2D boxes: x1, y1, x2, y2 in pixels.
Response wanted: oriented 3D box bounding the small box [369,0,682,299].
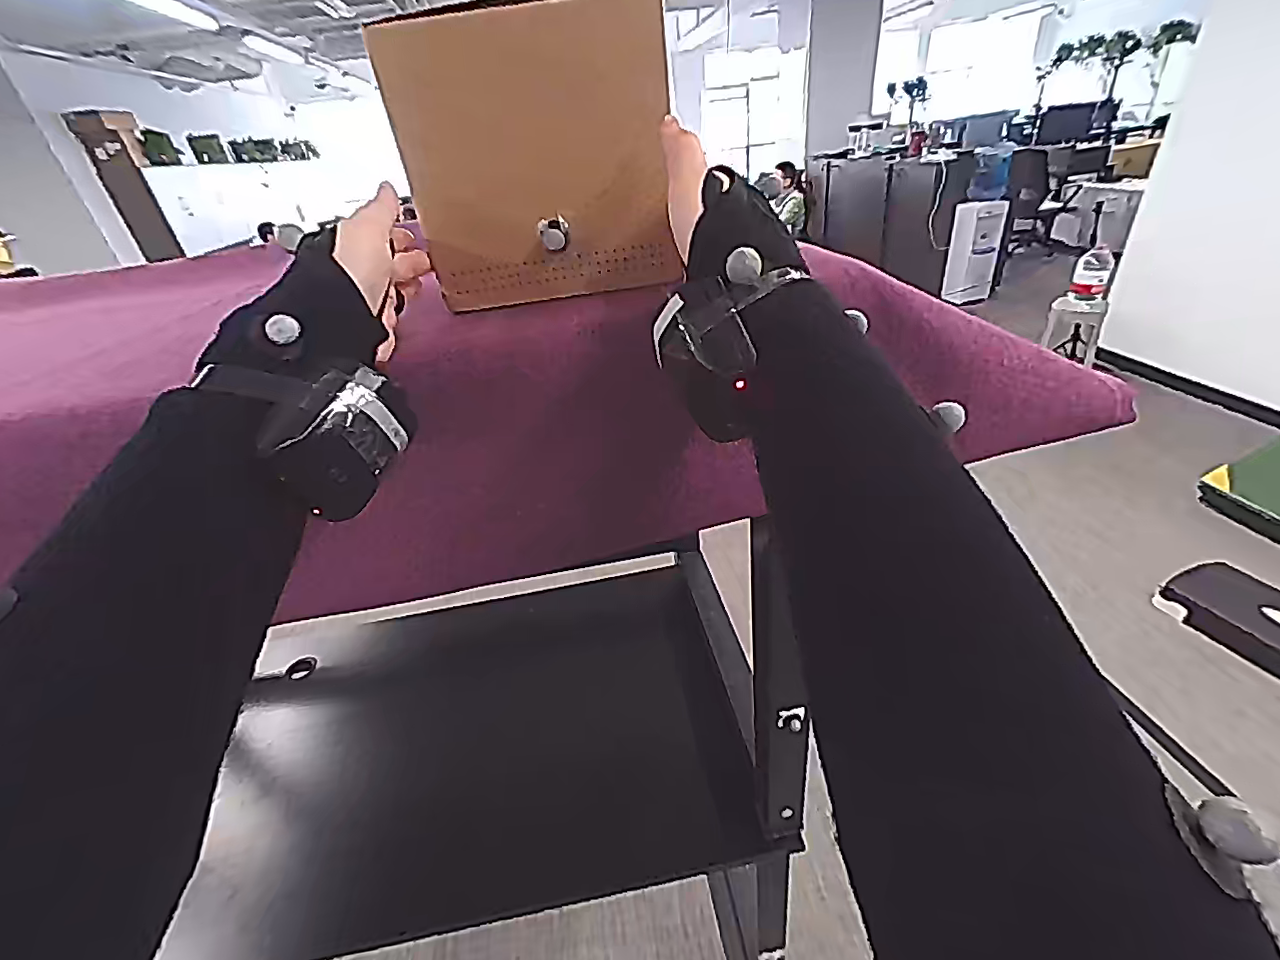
[{"bbox_3d":[-0.063,-0.248,0.412,0.179,0.176,0.168,-7,31,0],"label":"small box"}]
